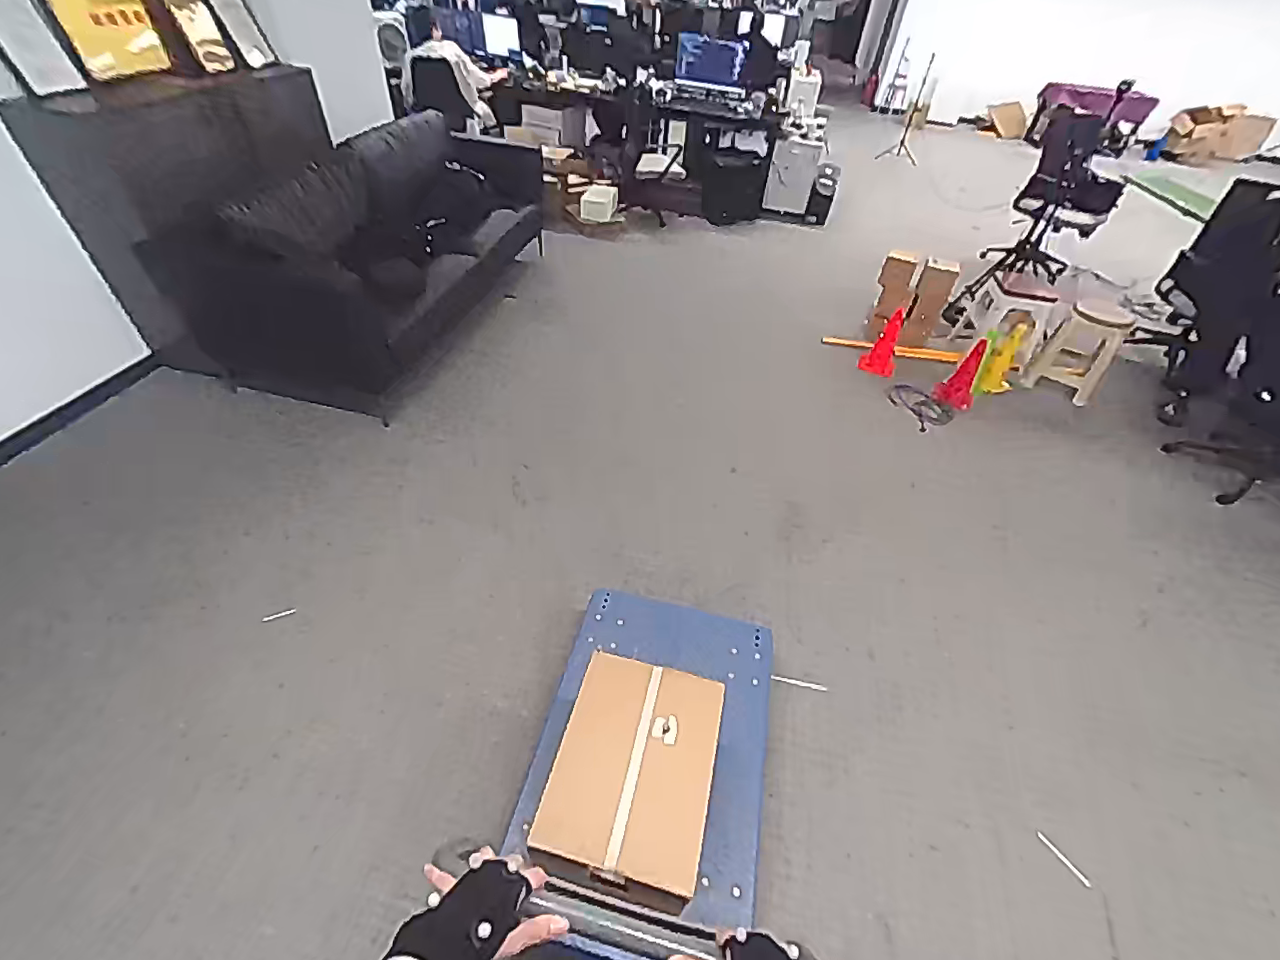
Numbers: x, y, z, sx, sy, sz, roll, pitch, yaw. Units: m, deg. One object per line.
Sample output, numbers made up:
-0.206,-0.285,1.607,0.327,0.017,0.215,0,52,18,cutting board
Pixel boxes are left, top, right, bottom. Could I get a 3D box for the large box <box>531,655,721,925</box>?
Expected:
-0.017,0.676,1.200,0.320,0.320,0.408,13,43,7,large box
